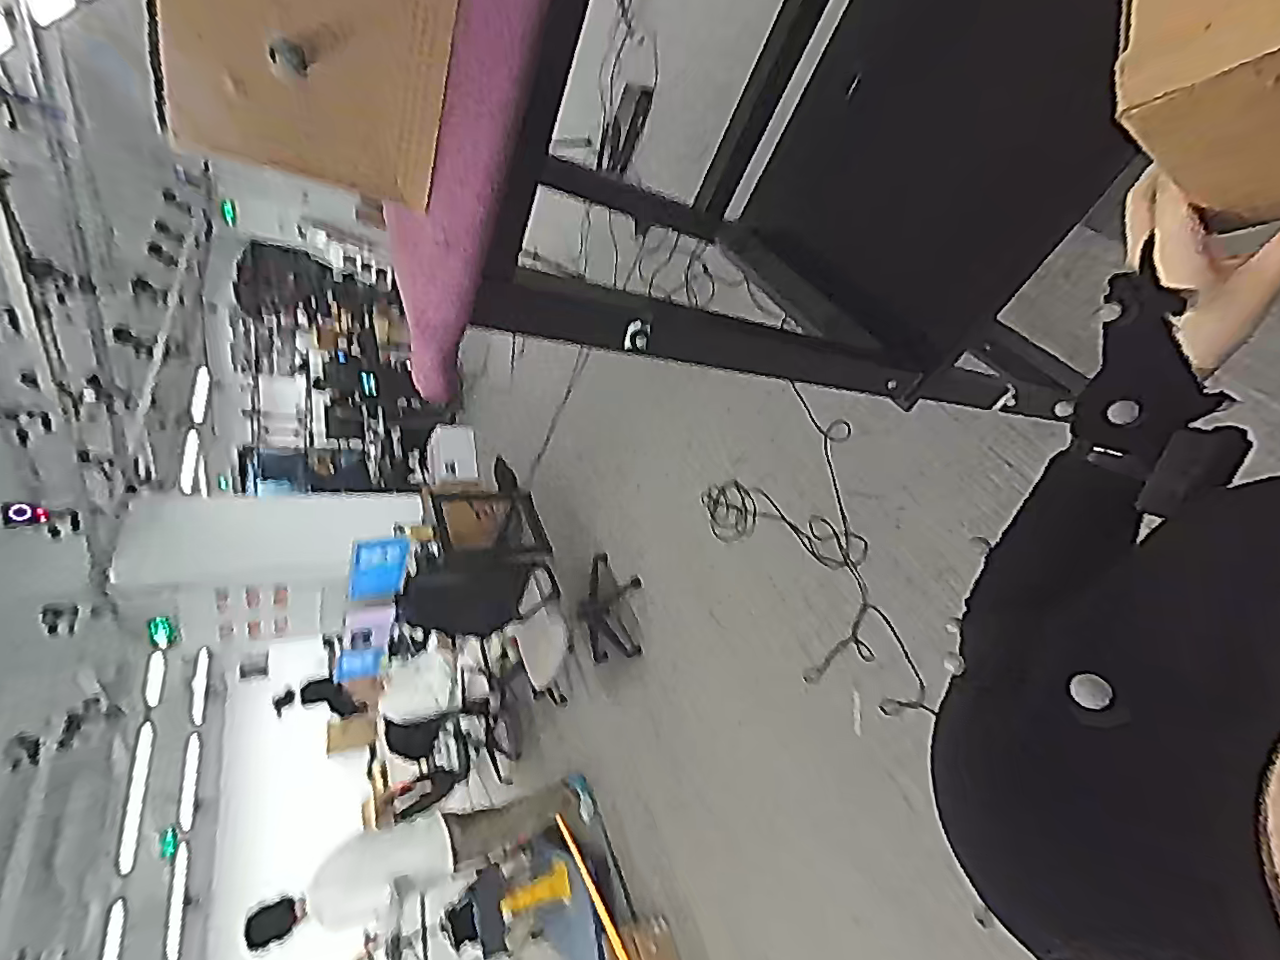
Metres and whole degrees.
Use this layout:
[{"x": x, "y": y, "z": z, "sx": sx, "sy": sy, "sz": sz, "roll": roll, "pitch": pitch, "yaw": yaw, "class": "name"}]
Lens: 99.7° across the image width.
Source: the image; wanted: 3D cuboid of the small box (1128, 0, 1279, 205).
[{"x": 0.352, "y": -0.247, "z": 0.224, "sx": 0.179, "sy": 0.176, "sz": 0.168, "roll": 6, "pitch": 90, "yaw": 58, "class": "small box"}]

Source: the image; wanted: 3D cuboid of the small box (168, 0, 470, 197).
[{"x": -0.236, "y": -0.343, "z": 0.409, "sx": 0.168, "sy": 0.176, "sz": 0.179, "roll": 55, "pitch": 133, "yaw": 40, "class": "small box"}]
